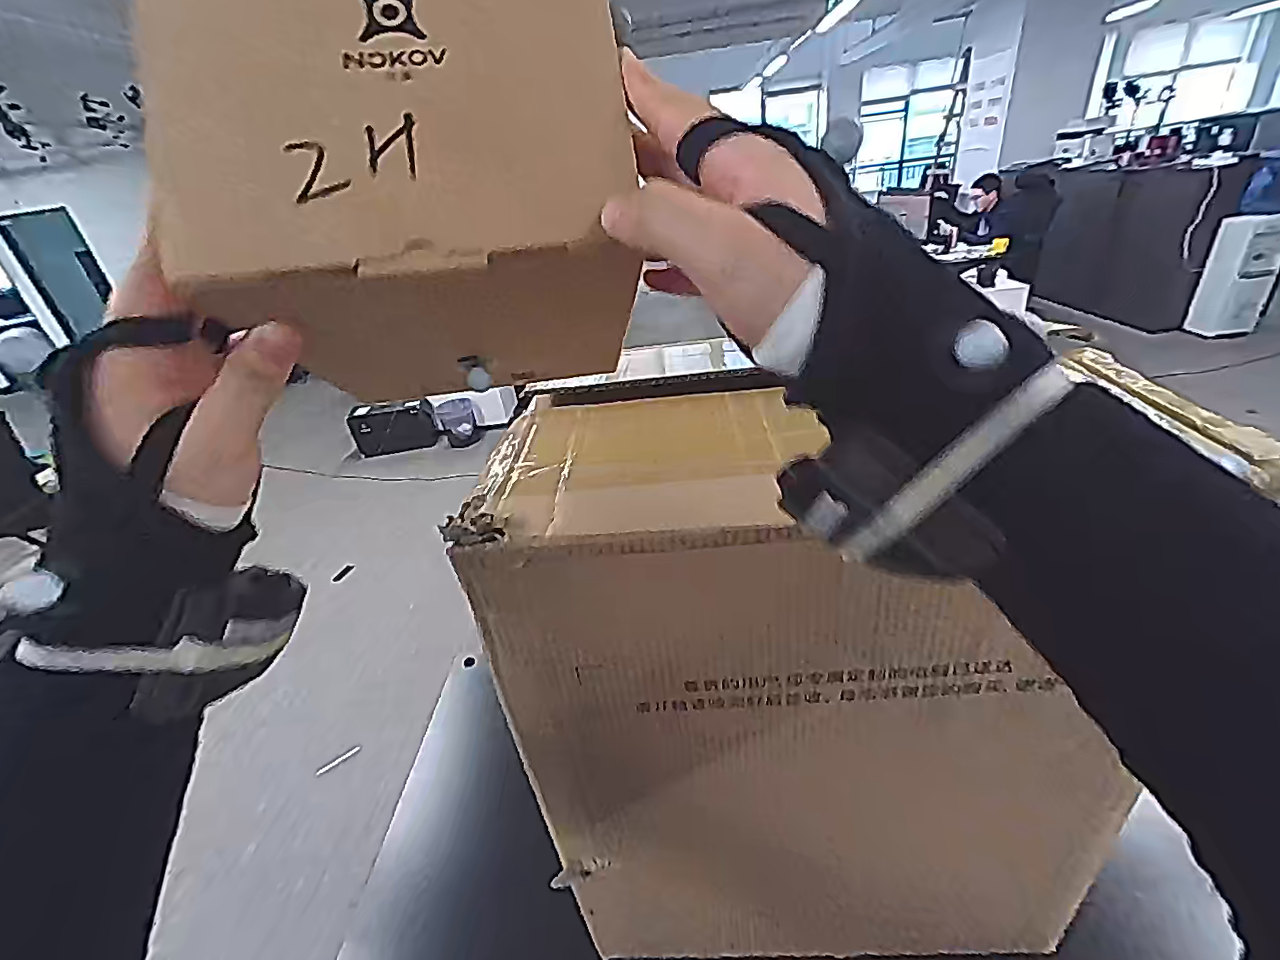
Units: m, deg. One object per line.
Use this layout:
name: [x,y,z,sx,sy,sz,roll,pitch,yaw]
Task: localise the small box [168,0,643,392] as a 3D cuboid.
small box: [-0.099,-0.163,0.287,0.168,0.179,0.176,-9,-7,-6]
